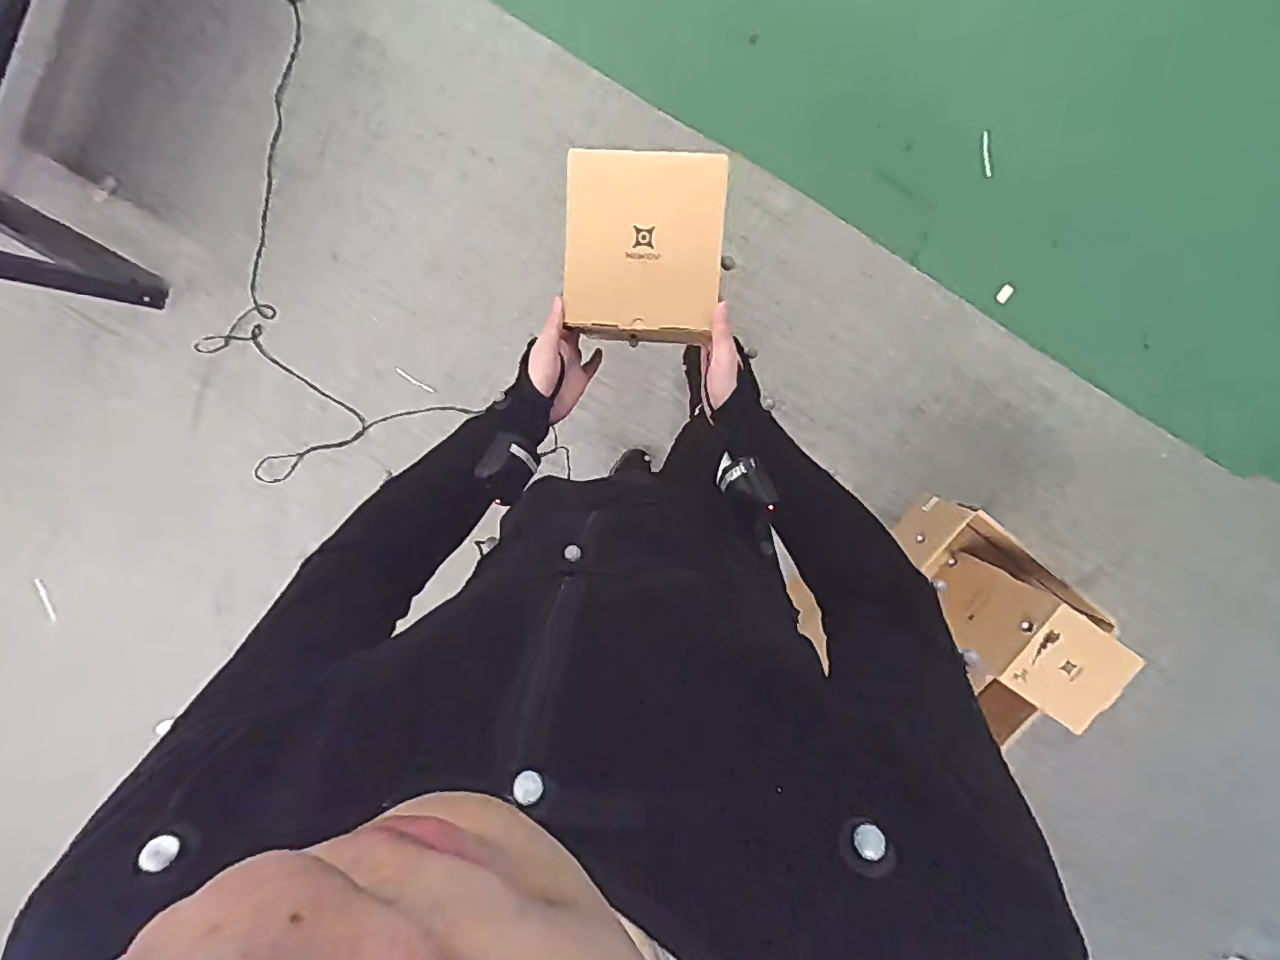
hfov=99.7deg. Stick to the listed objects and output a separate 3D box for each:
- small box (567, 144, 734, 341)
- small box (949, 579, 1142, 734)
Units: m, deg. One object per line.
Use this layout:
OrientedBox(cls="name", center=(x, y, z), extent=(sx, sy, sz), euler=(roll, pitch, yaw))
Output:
OrientedBox(cls="small box", center=(0.010, -0.261, 0.631), extent=(0.168, 0.176, 0.179), euler=(3, 102, 2))
OrientedBox(cls="small box", center=(0.708, 0.302, 0.967), extent=(0.179, 0.176, 0.168), euler=(35, 96, -4))
